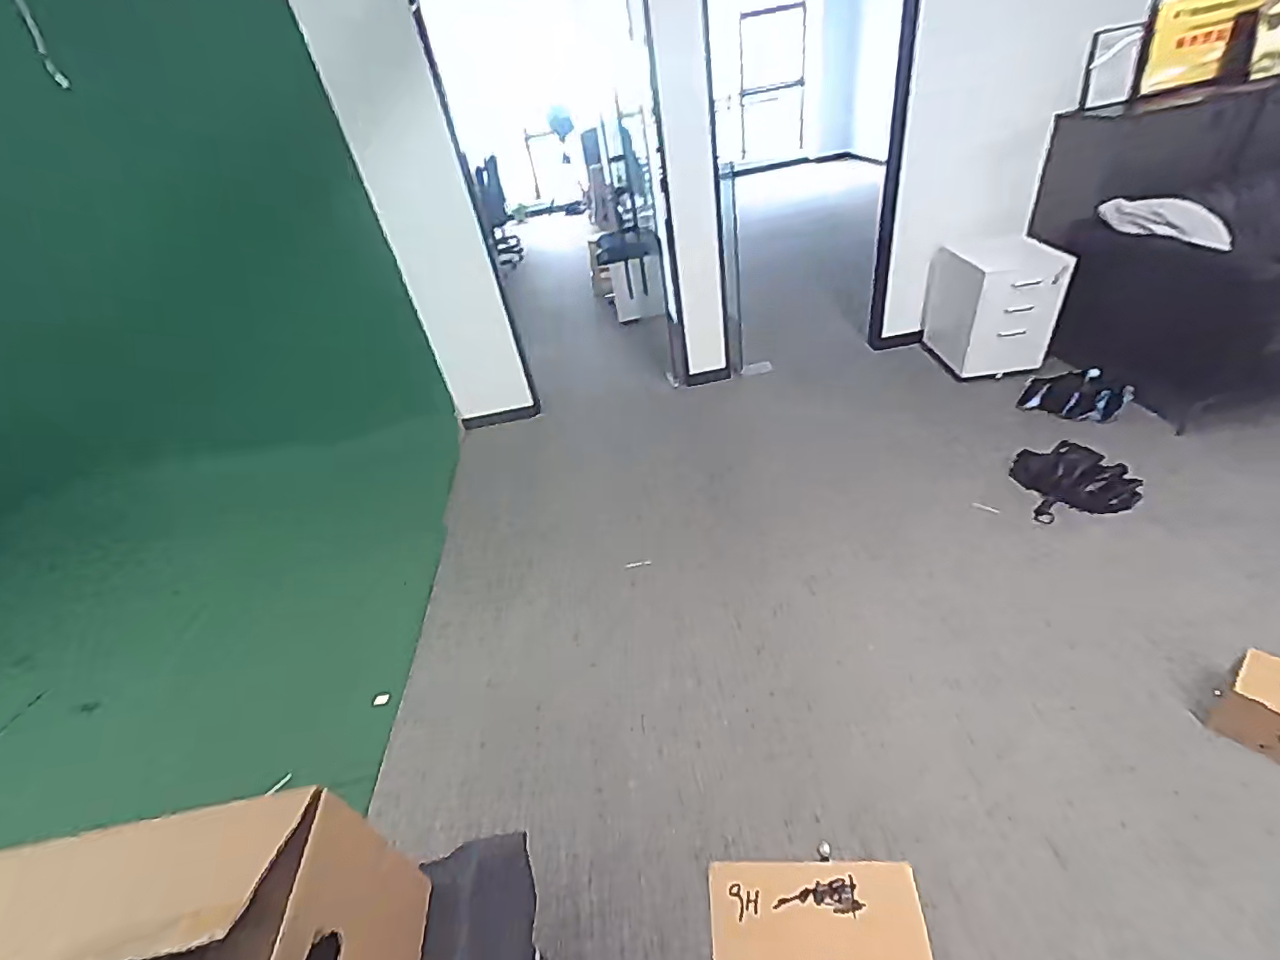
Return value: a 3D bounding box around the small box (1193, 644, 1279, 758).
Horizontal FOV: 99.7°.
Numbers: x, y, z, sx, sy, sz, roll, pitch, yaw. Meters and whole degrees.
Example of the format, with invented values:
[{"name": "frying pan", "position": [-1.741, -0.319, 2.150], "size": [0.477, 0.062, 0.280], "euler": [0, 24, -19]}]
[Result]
[{"name": "small box", "position": [1.582, 0.571, 1.392], "size": [0.179, 0.176, 0.168], "euler": [-33, 43, -30]}]
